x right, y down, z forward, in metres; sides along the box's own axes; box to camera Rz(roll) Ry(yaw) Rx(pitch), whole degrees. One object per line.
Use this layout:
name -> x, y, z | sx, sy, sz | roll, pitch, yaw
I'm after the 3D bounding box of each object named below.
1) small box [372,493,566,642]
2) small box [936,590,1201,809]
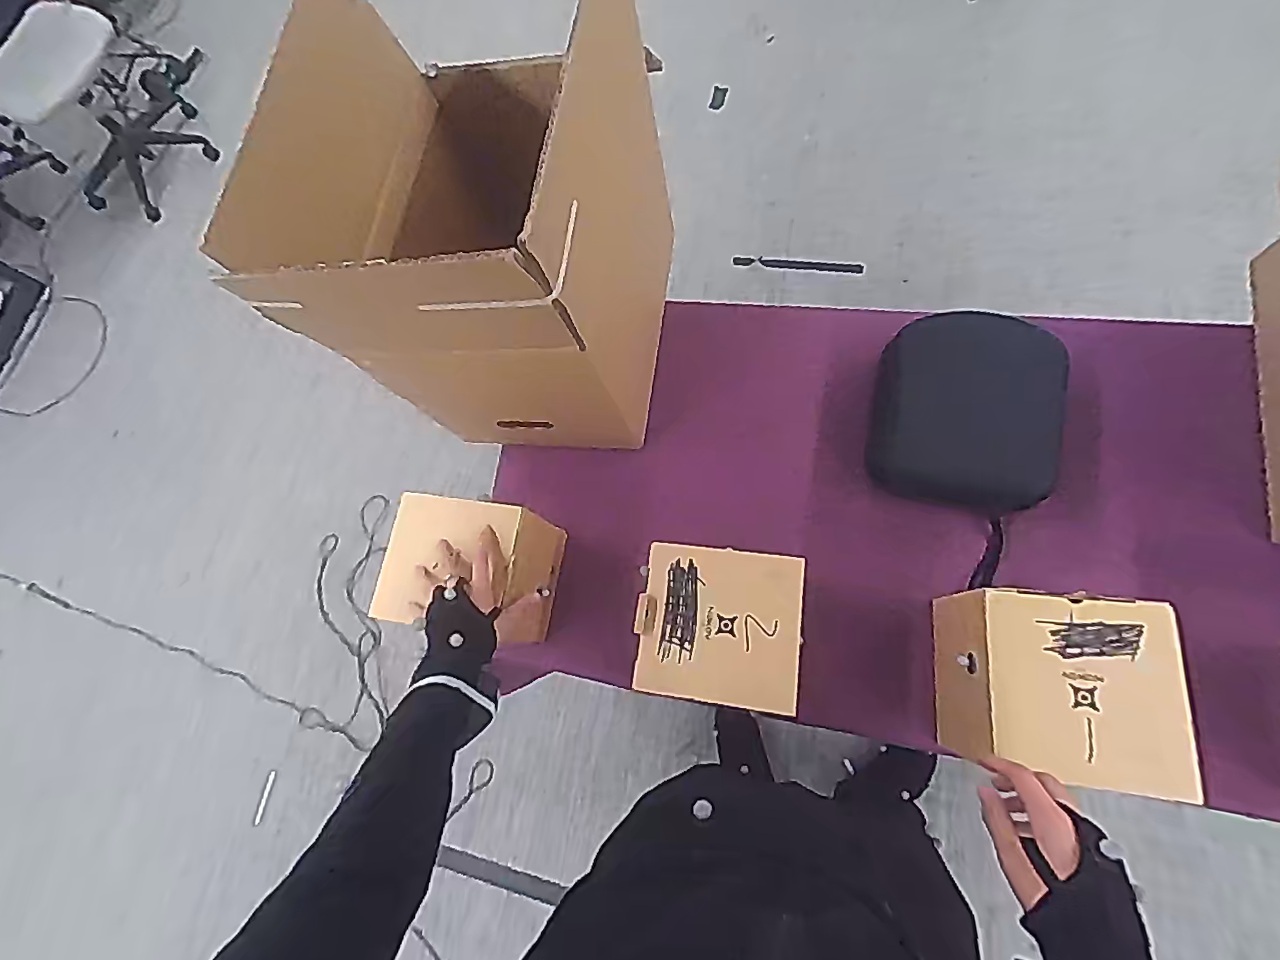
small box -> -0.223, 0.127, 0.749 | 0.179, 0.176, 0.168 | 7, 75, 13
small box -> 0.436, 0.223, 0.587 | 0.168, 0.176, 0.179 | 3, 75, 13
